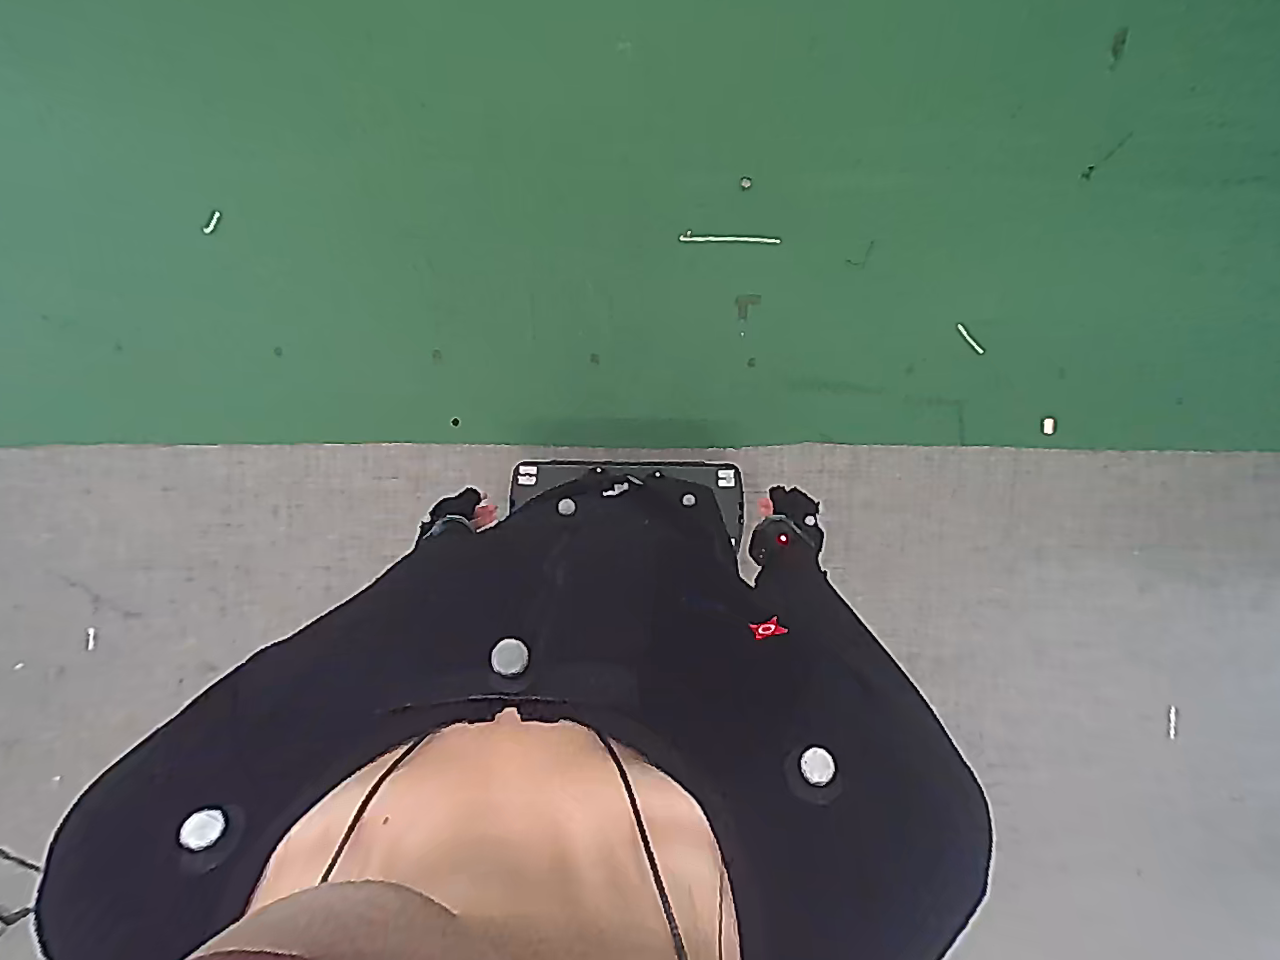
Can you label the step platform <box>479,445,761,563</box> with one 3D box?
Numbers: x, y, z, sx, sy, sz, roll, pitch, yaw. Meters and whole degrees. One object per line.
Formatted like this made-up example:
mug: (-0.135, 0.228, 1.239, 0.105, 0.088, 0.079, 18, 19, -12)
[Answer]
step platform: (-0.048, 0.055, 1.395, 0.684, 0.204, 0.286, 0, 92, 0)
